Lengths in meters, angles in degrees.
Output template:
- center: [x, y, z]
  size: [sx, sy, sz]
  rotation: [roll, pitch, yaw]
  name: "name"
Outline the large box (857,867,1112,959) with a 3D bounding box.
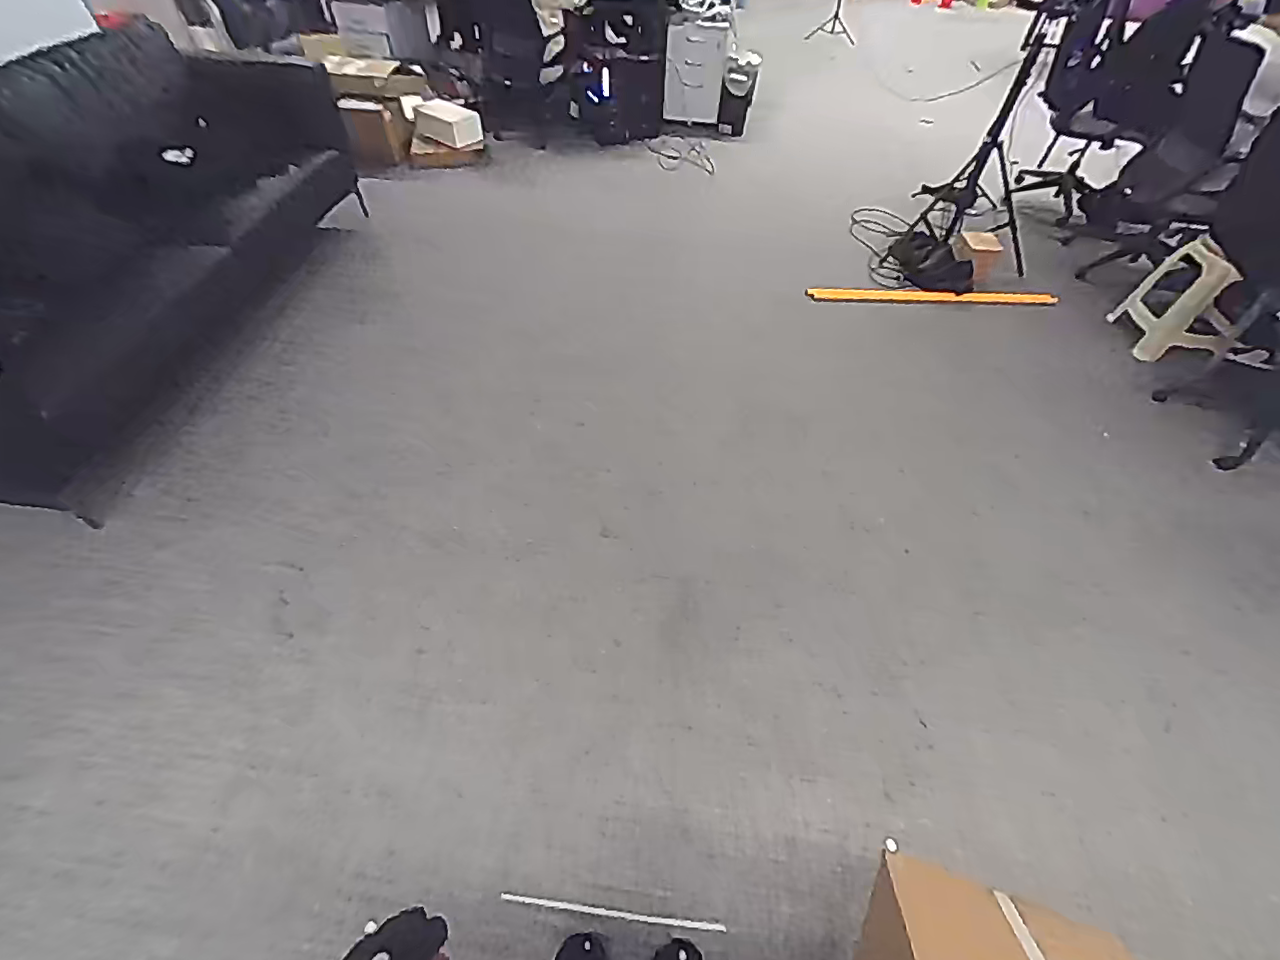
- center: [0.426, 0.761, 0.595]
  size: [0.320, 0.408, 0.320]
  rotation: [16, 92, 13]
  name: "large box"
